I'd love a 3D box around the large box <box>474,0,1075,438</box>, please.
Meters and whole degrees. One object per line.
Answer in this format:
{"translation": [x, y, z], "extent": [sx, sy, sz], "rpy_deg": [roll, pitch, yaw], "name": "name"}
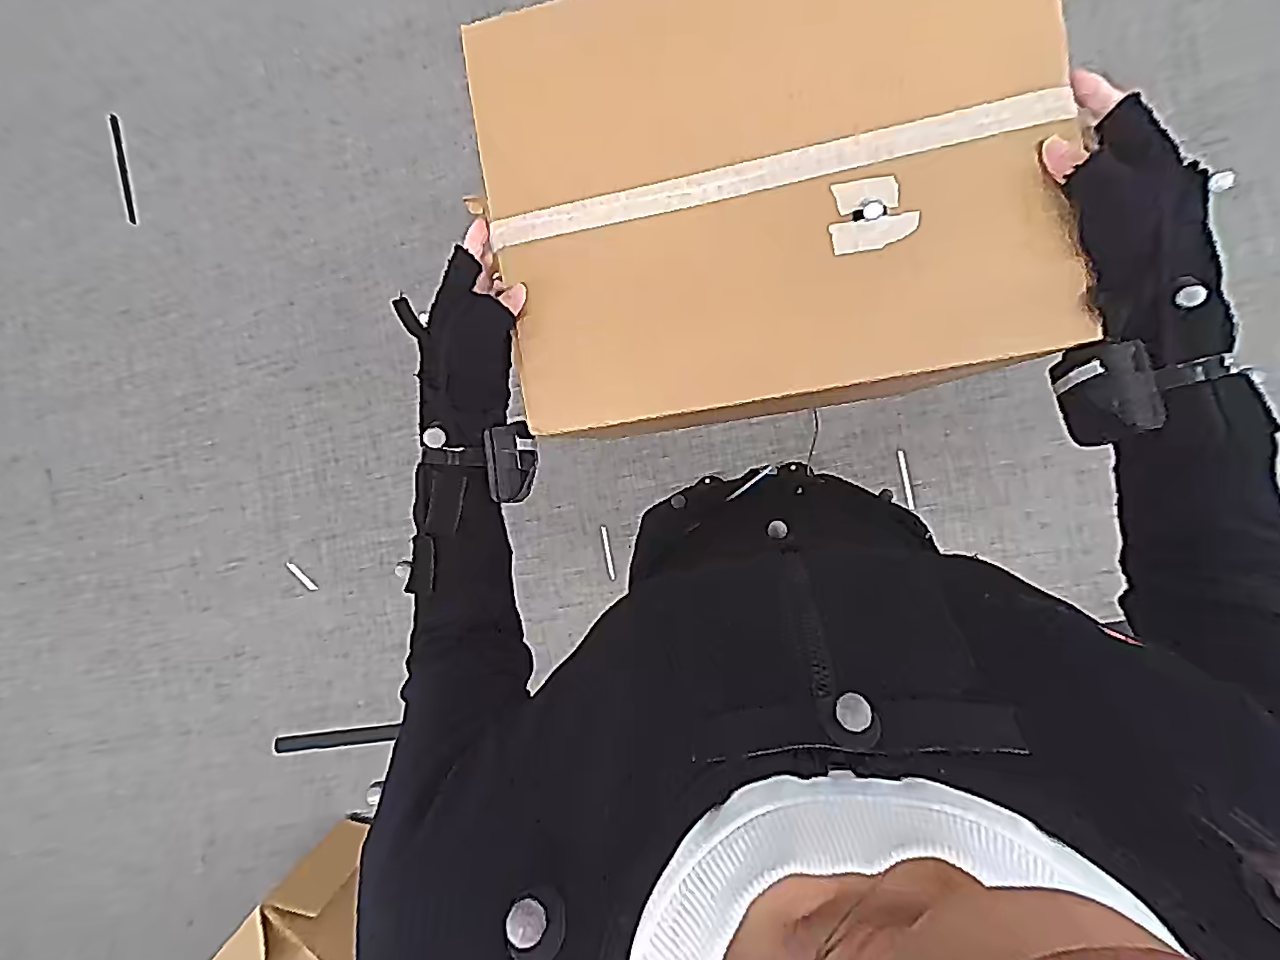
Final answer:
{"translation": [0.105, -0.229, 0.547], "extent": [0.408, 0.320, 0.320], "rpy_deg": [-9, 93, 7], "name": "large box"}
